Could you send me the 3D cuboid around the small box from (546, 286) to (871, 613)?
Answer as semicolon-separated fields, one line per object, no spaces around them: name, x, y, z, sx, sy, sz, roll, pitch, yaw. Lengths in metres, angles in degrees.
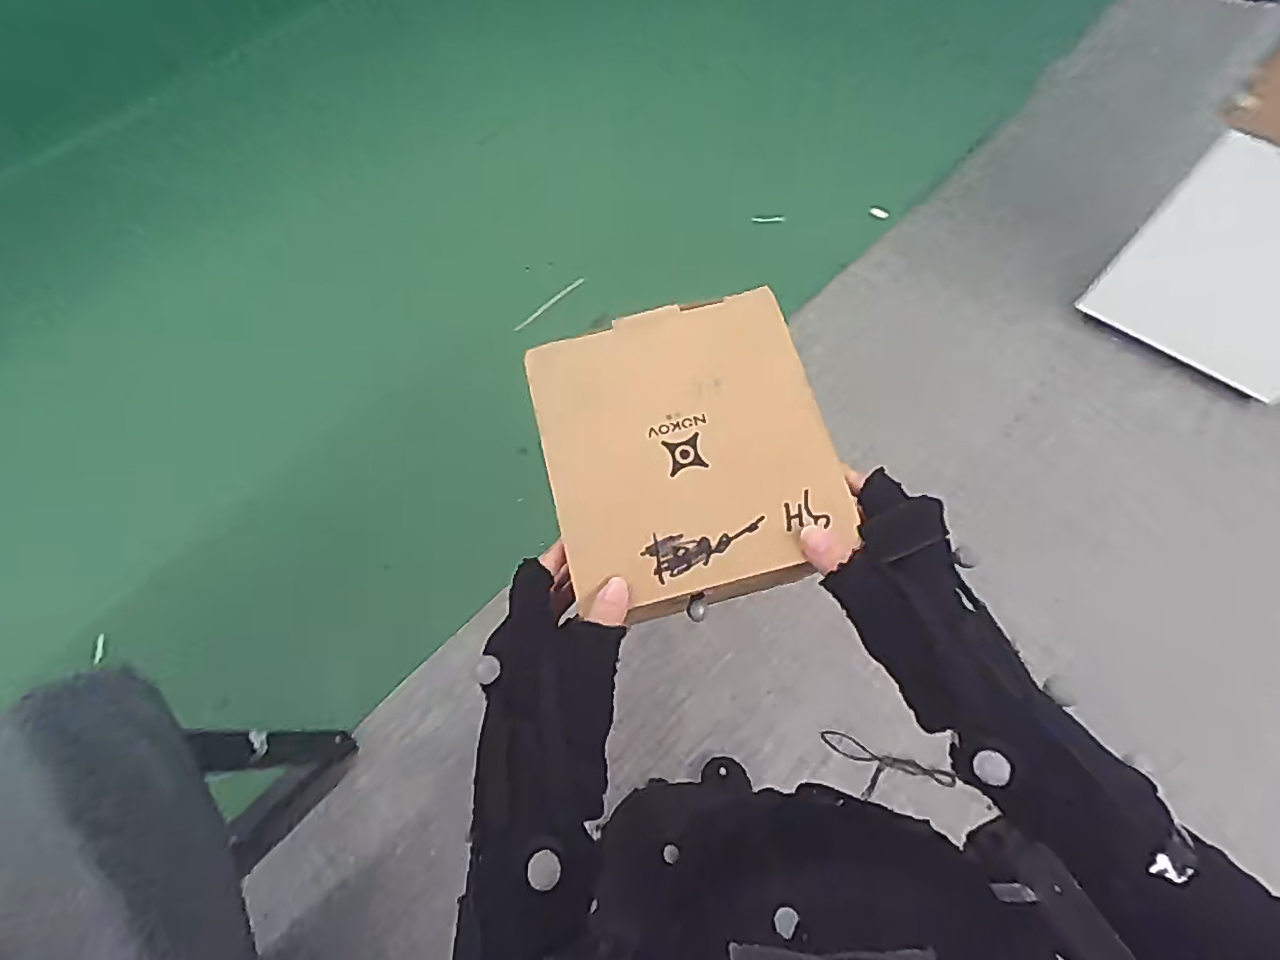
small box;0.040;-0.006;0.404;0.168;0.176;0.179;-14;73;2
